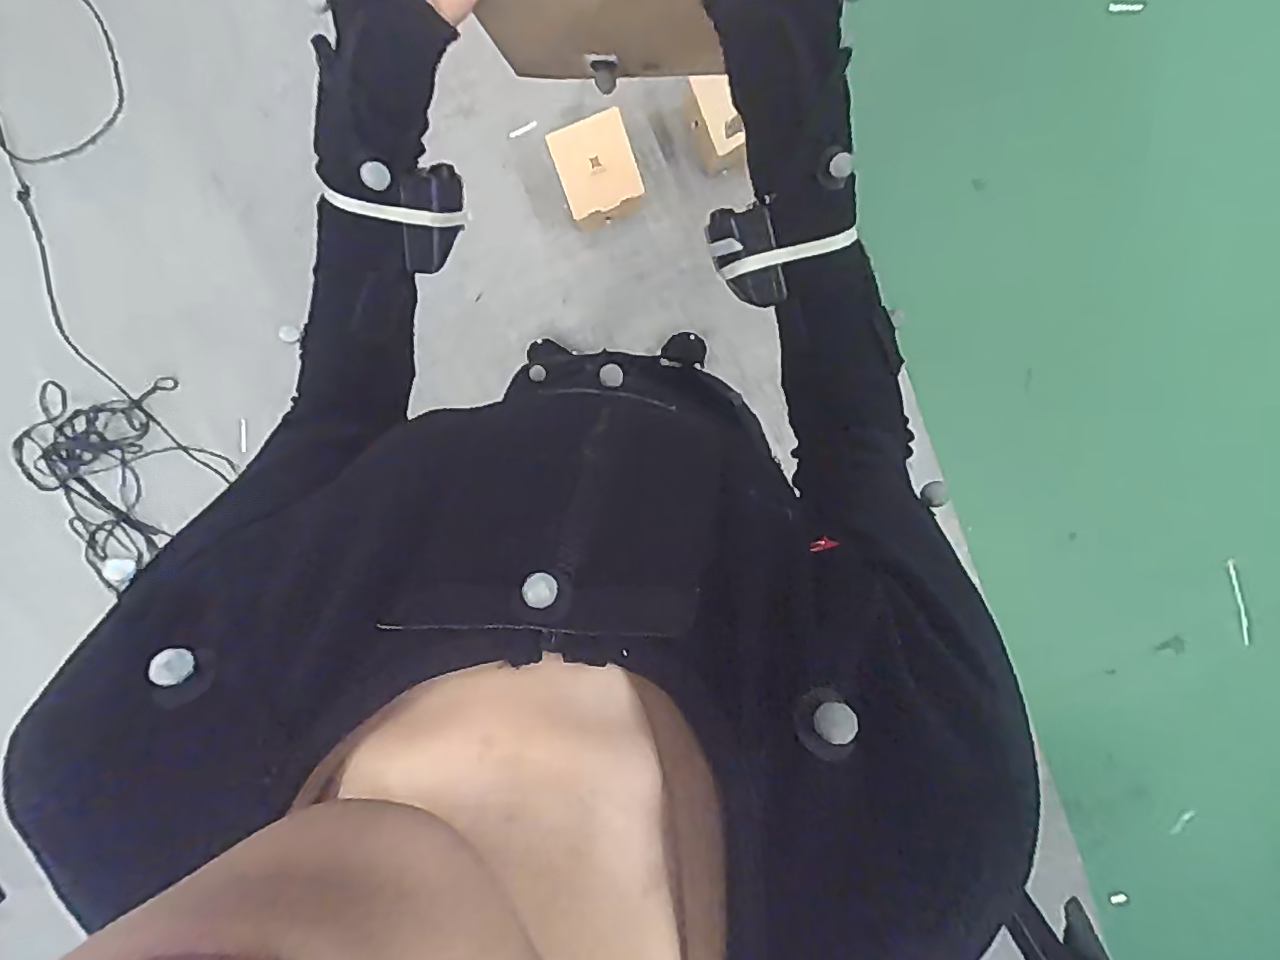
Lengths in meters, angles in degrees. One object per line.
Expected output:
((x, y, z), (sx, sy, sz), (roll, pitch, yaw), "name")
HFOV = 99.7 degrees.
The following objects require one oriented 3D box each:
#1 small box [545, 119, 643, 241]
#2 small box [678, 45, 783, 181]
((-0.099, -0.671, 1.229), (0.168, 0.176, 0.179), (-20, 105, 5), "small box")
((0.194, -0.792, 1.195), (0.168, 0.176, 0.179), (-25, 103, 6), "small box")
